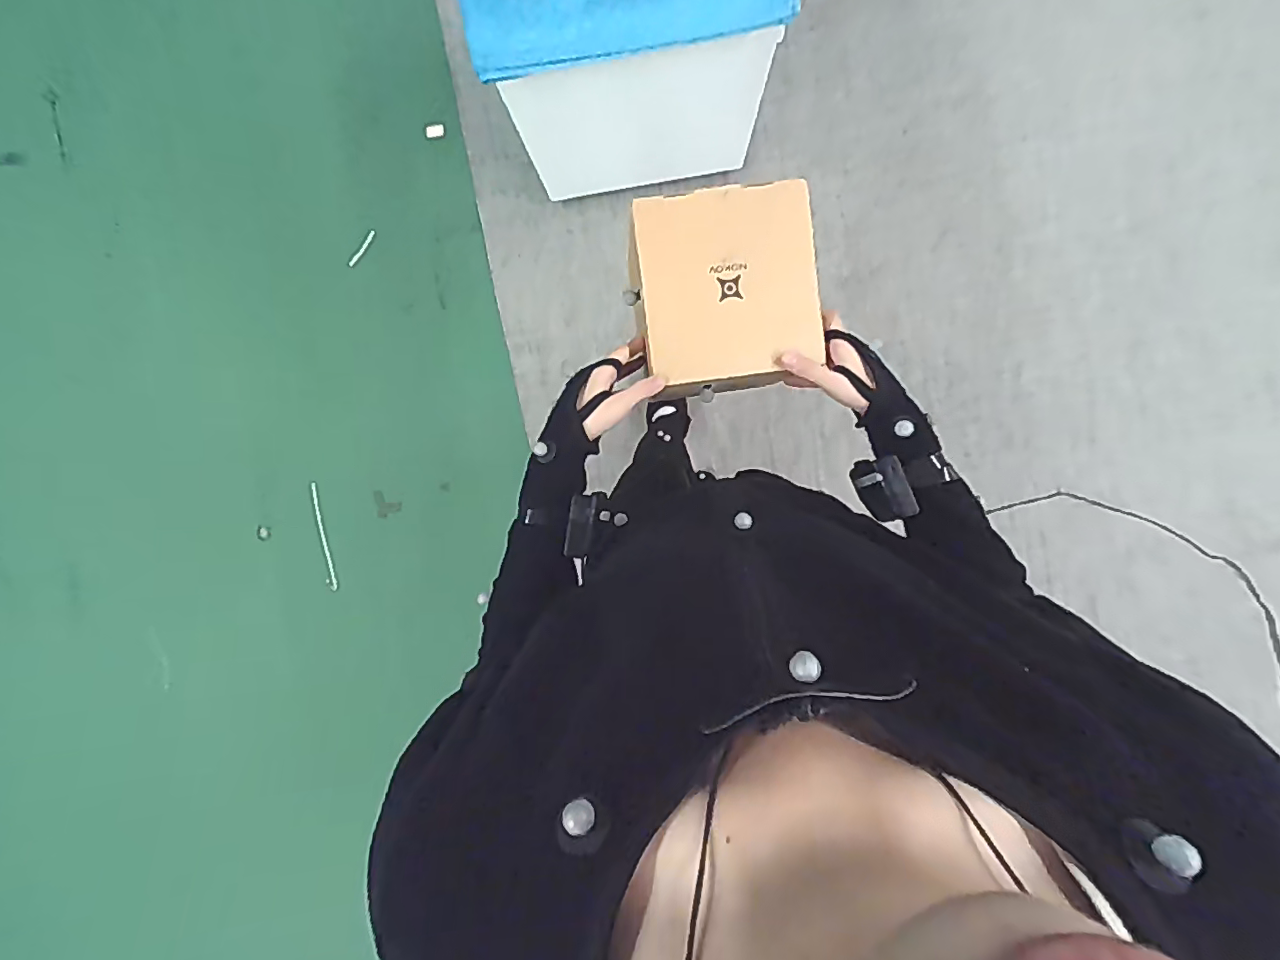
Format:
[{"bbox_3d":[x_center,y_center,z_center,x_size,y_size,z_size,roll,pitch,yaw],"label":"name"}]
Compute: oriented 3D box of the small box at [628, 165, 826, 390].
[{"bbox_3d":[0.080,-0.194,0.571,0.168,0.176,0.179,-8,93,-1],"label":"small box"}]
